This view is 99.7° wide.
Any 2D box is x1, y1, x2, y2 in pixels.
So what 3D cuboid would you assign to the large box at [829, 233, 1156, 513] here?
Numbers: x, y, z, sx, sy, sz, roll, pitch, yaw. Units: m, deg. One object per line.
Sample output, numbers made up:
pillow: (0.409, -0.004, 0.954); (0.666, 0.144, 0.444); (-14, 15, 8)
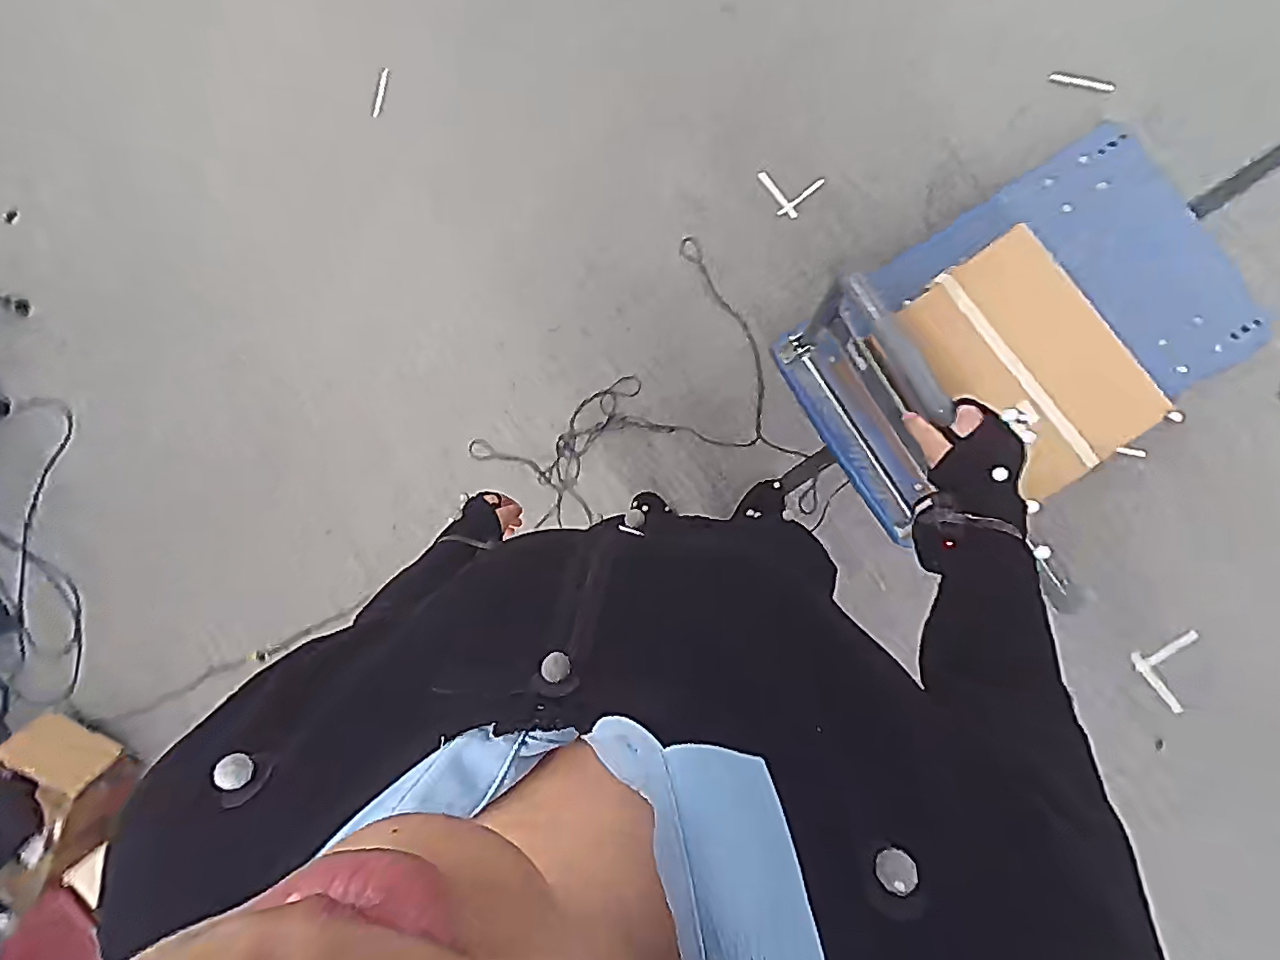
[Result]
large box: (0.656, -0.191, 1.091); (0.320, 0.320, 0.408); (-37, 87, 7)
